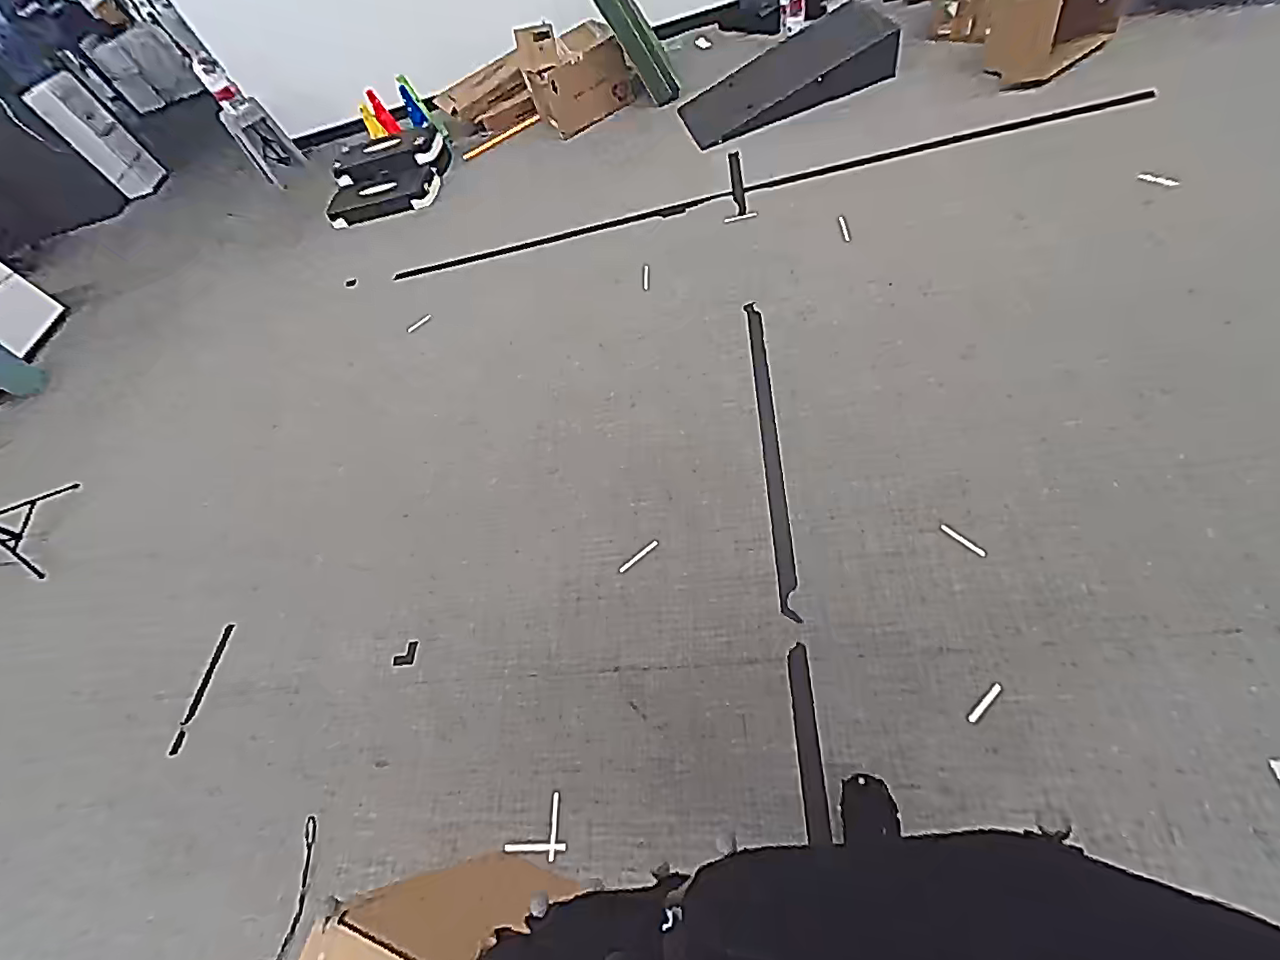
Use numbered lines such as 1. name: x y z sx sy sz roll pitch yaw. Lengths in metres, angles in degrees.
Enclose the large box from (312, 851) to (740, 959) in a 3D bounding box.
1. large box: -0.114 0.590 0.431 0.320 0.320 0.408 9 64 18
